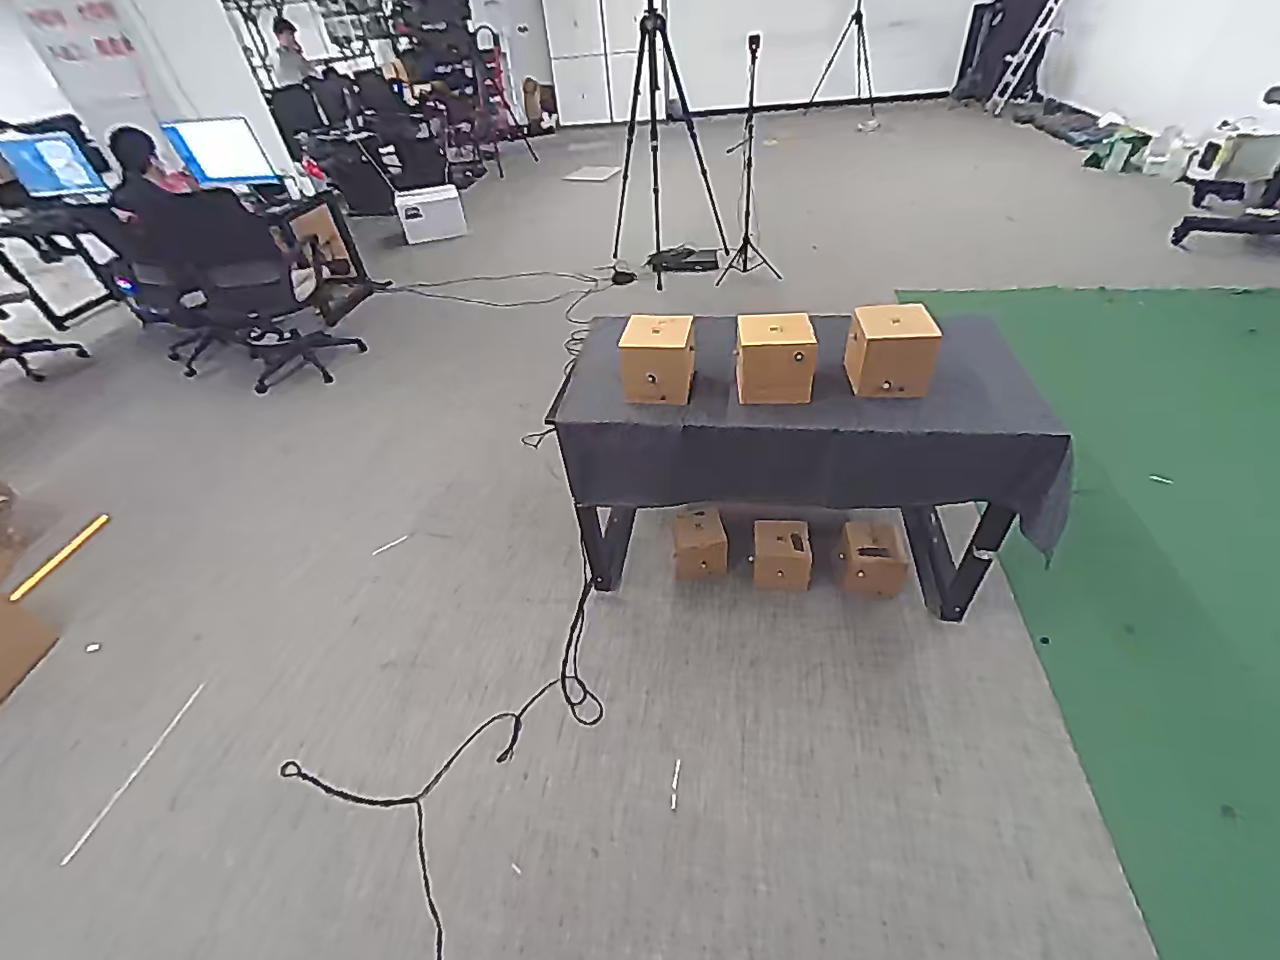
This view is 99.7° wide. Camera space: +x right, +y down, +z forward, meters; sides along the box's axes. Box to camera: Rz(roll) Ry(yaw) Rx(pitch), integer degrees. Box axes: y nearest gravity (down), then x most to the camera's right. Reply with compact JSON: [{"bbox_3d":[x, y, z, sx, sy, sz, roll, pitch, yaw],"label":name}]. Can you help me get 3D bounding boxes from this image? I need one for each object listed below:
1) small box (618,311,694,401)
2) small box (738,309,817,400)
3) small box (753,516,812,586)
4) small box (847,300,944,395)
[{"bbox_3d":[0.049,-0.320,1.396,0.168,0.176,0.179,5,43,11],"label":"small box"},{"bbox_3d":[0.336,-0.311,1.355,0.179,0.176,0.168,0,42,7],"label":"small box"},{"bbox_3d":[0.471,0.241,1.811,0.179,0.176,0.168,1,42,9],"label":"small box"},{"bbox_3d":[0.617,-0.326,1.334,0.168,0.176,0.179,0,42,9],"label":"small box"}]
